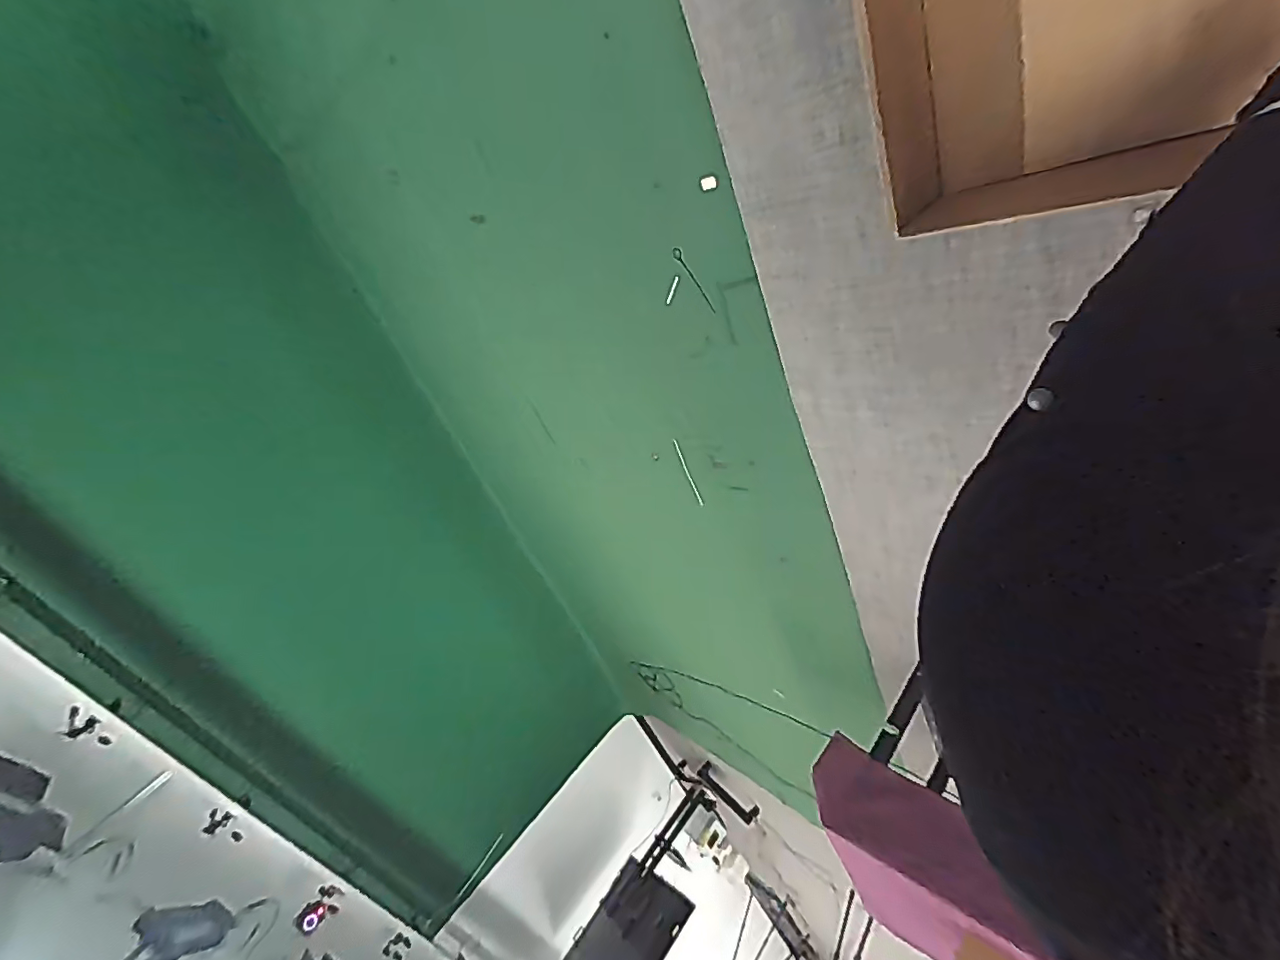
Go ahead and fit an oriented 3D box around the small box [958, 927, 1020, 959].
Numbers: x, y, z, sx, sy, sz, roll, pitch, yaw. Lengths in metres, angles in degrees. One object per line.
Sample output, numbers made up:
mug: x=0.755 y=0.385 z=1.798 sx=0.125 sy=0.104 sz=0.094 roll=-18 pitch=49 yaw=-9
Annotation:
small box: x=0.922 y=1.322 z=1.396 sx=0.179 sy=0.176 sz=0.168 roll=14 pitch=136 yaw=48
